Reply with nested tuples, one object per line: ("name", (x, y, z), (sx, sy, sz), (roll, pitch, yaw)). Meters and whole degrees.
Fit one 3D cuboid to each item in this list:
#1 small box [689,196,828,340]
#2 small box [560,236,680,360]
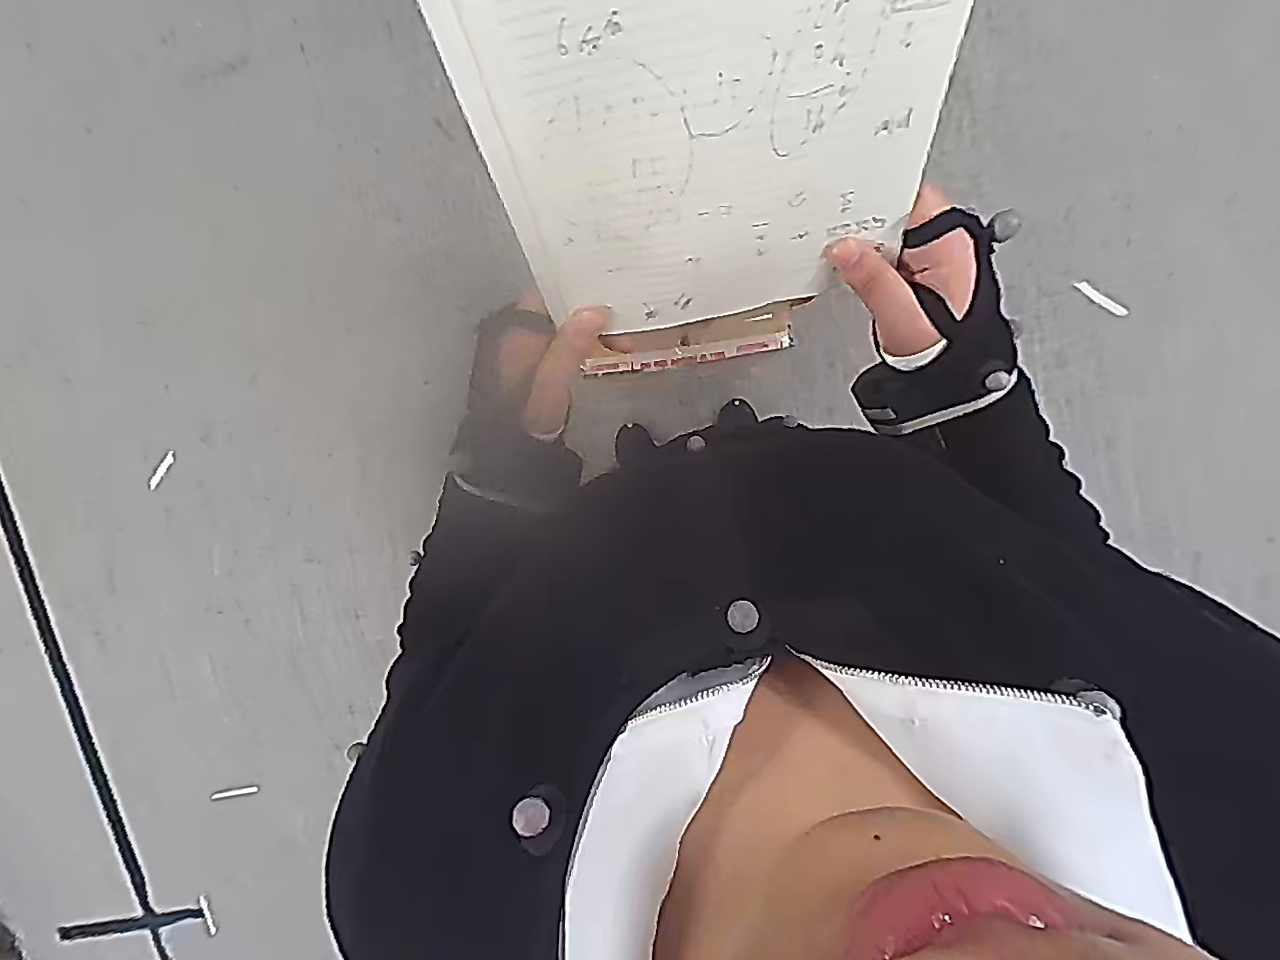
("small box", (0.186, -0.339, 0.897), (0.179, 0.176, 0.168), (-13, 97, 3))
("small box", (-0.026, -0.297, 0.911), (0.179, 0.176, 0.168), (-5, 98, 5))
